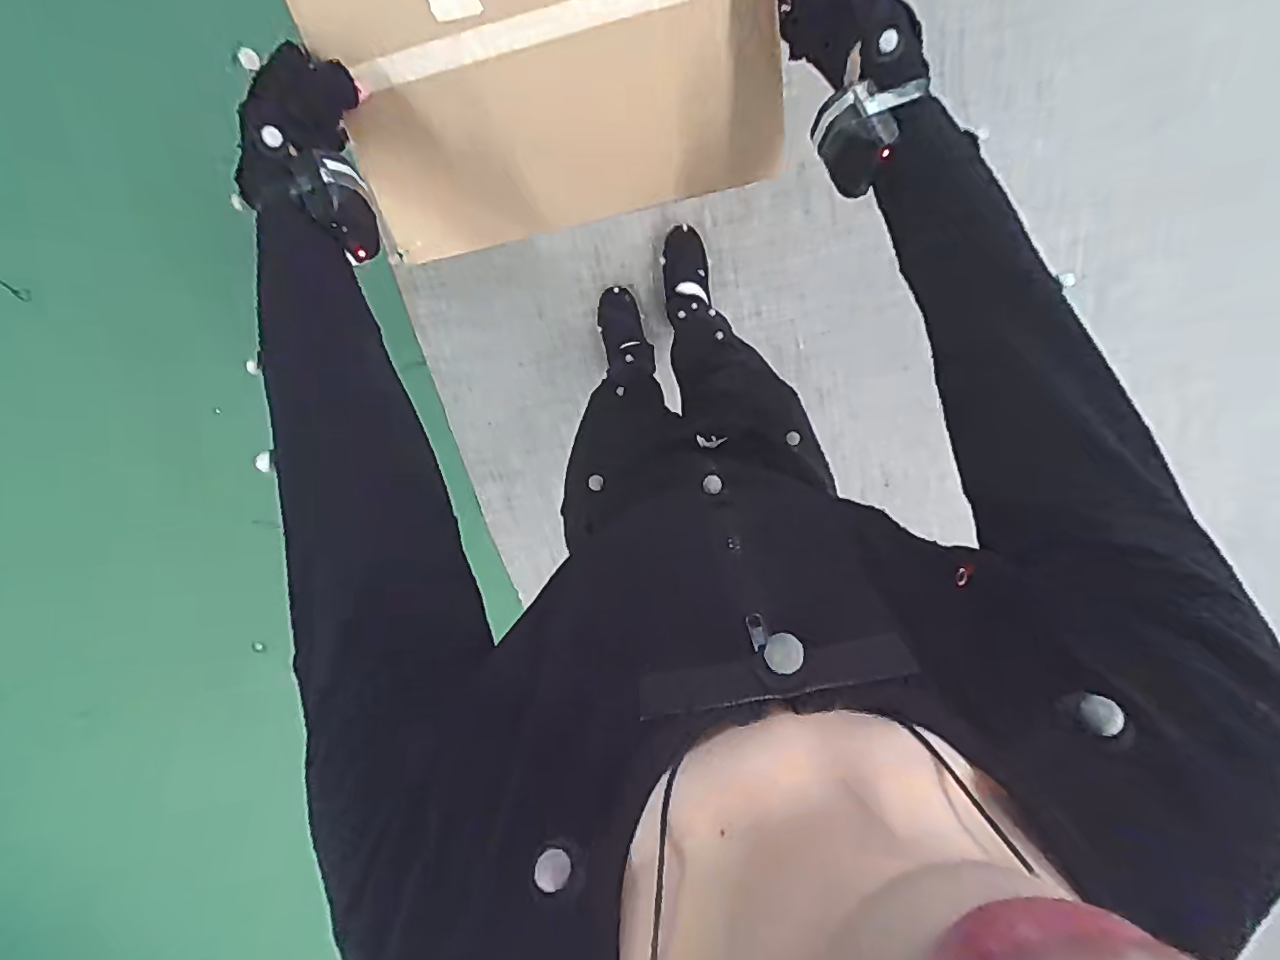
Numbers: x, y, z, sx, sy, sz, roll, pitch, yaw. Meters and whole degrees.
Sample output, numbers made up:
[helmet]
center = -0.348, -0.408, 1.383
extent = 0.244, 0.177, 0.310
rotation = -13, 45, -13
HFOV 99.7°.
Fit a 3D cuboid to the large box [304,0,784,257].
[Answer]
[large box]
center = -0.085, -0.484, 0.599
extent = 0.408, 0.320, 0.320
rotation = -11, 123, 6
